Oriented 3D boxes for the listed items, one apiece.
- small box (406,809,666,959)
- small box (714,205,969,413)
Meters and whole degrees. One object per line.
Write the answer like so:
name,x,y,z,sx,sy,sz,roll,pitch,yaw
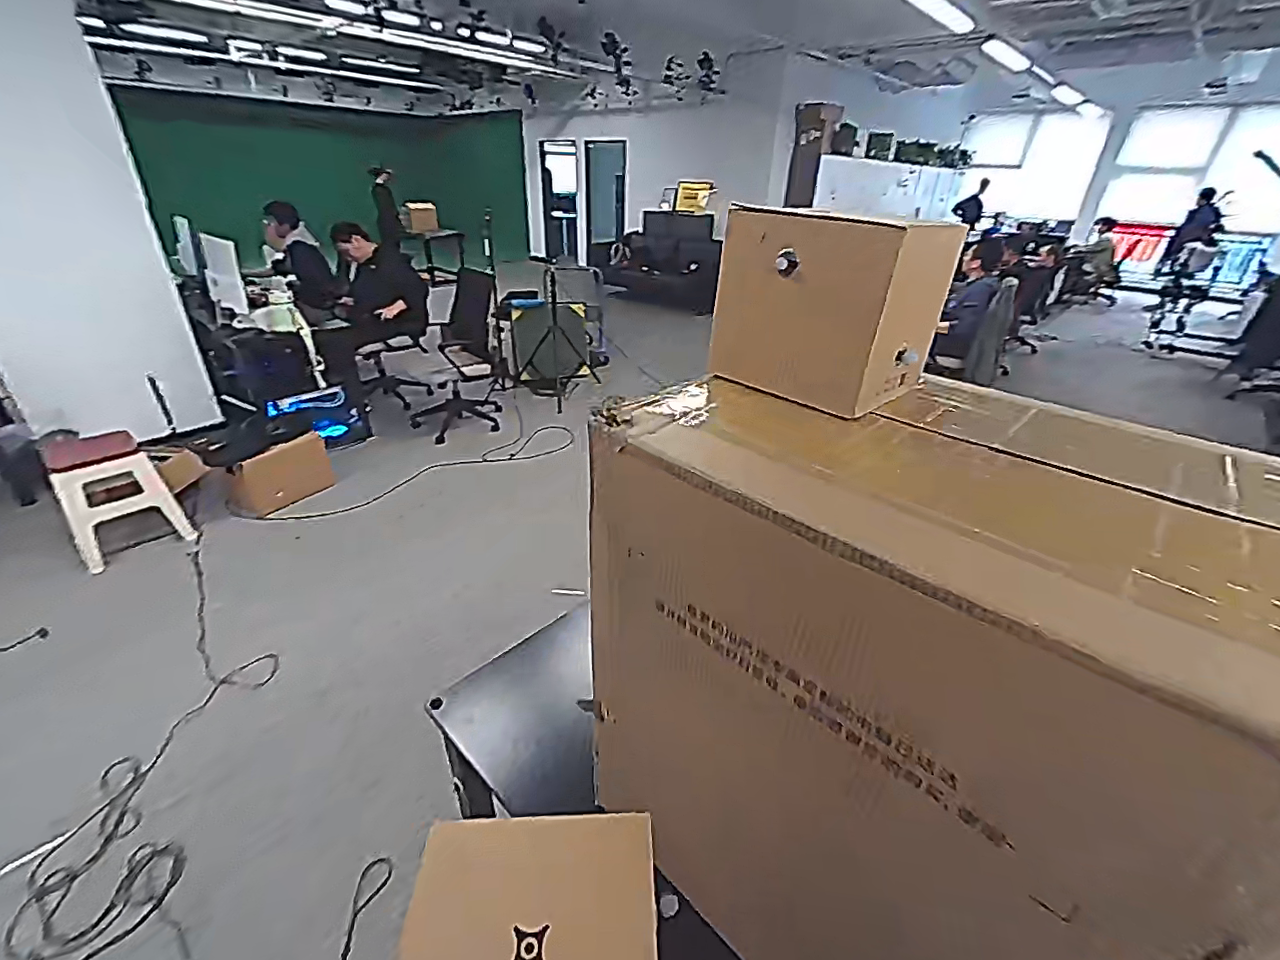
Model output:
small box,-0.065,0.366,0.382,0.168,0.176,0.179,-2,34,-1
small box,0.197,-0.183,0.561,0.179,0.176,0.168,28,37,36
